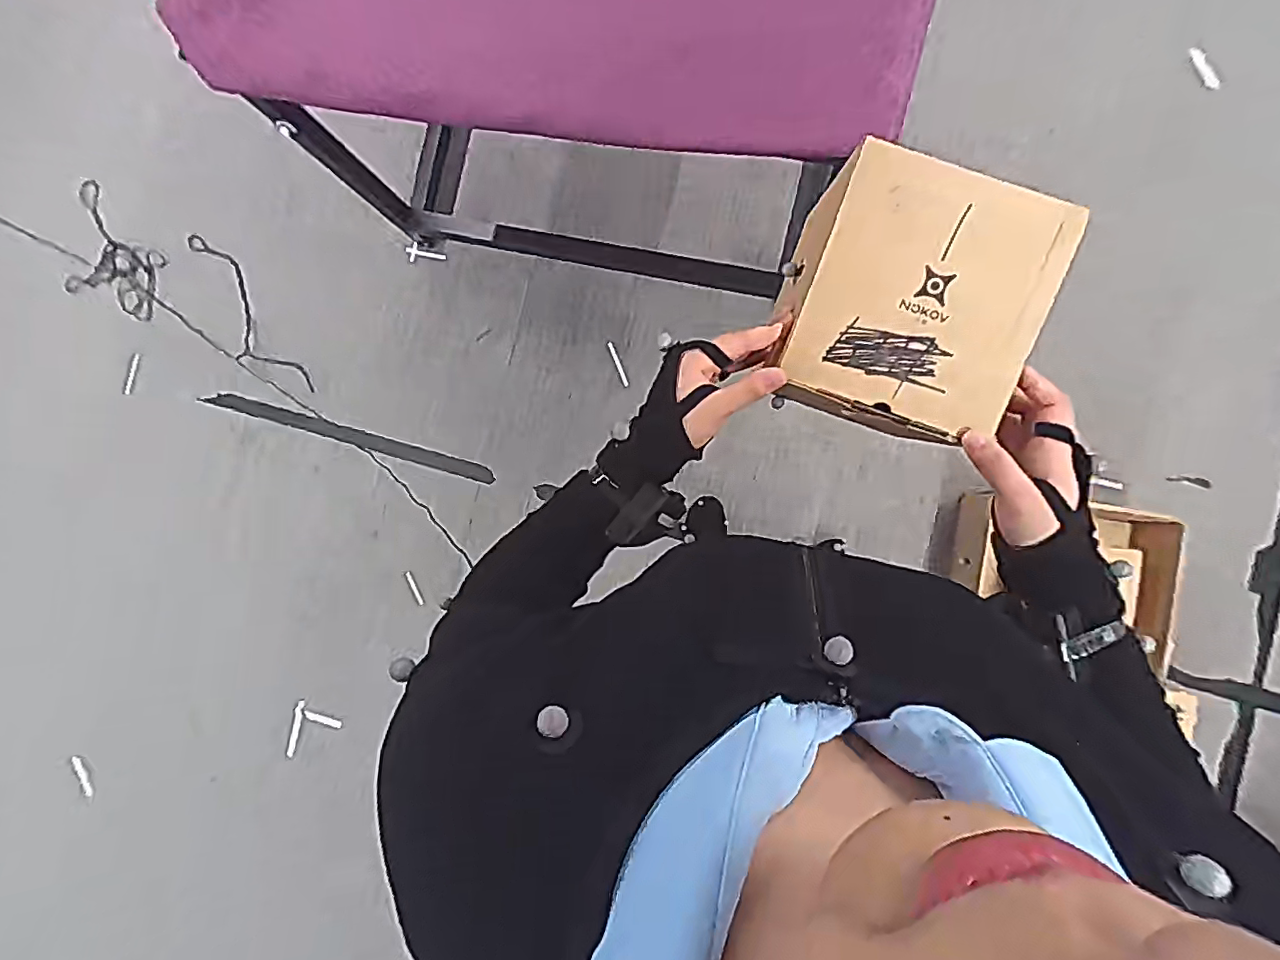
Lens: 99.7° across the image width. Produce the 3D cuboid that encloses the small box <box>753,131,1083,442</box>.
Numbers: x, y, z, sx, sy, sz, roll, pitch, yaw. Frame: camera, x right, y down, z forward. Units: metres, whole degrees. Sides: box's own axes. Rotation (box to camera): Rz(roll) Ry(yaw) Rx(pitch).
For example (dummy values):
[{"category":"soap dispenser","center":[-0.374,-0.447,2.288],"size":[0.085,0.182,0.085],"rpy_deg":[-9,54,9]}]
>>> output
[{"category":"small box","center":[0.205,-0.144,0.461],"size":[0.168,0.176,0.179],"rpy_deg":[19,98,1]}]

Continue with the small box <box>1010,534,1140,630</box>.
[{"category":"small box","center":[0.999,0.228,1.258],"size":[0.168,0.176,0.179],"rpy_deg":[8,90,7]}]
